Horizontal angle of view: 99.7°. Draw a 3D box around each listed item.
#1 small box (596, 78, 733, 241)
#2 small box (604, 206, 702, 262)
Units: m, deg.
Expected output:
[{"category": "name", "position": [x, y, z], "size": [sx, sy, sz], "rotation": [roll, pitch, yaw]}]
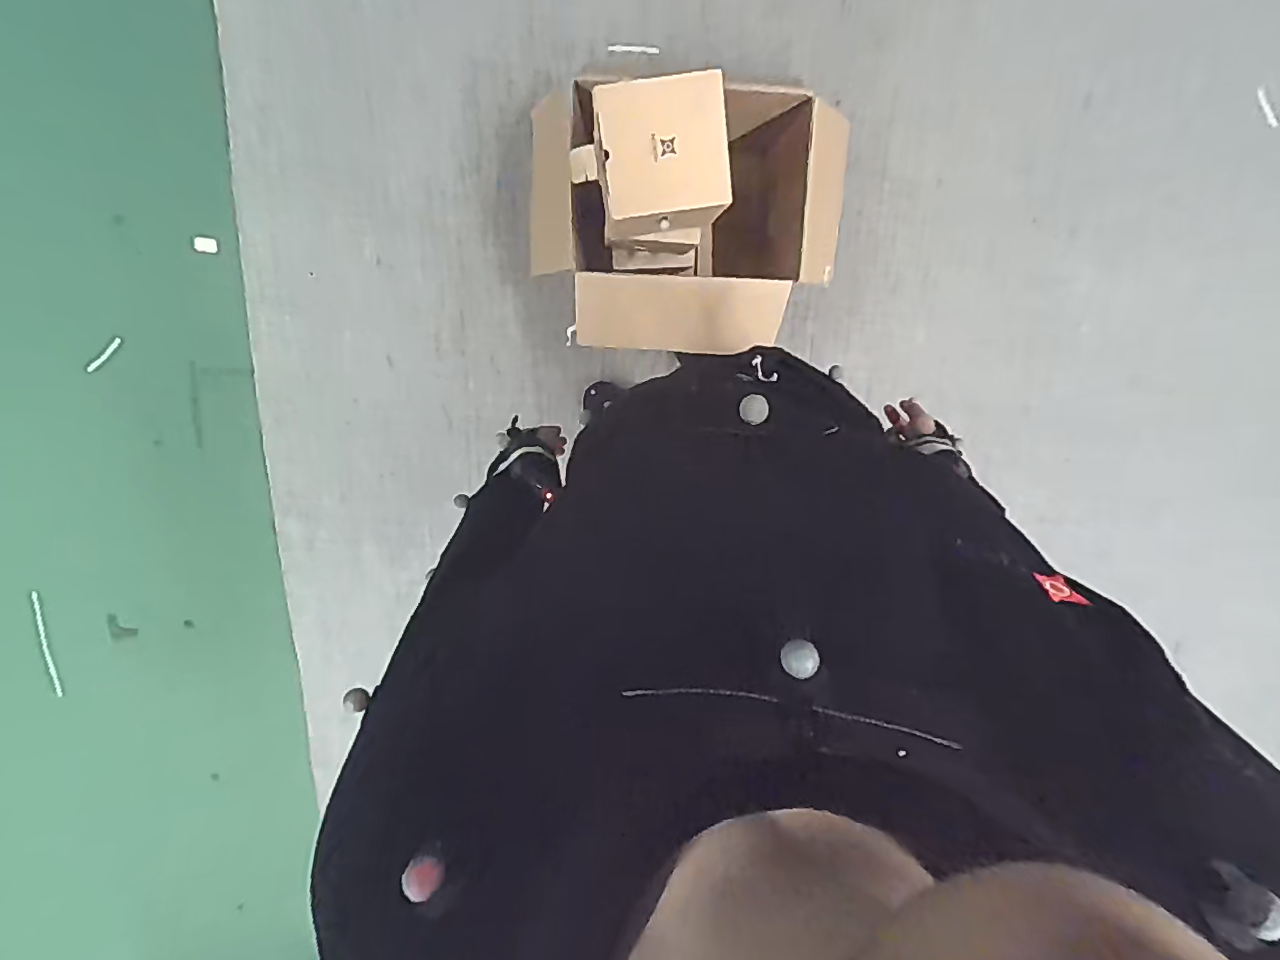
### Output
[{"category": "small box", "position": [0.031, -0.468, 0.814], "size": [0.179, 0.176, 0.168], "rotation": [-8, 106, -1]}, {"category": "small box", "position": [0.022, -0.503, 0.973], "size": [0.168, 0.176, 0.179], "rotation": [4, 106, -5]}]
